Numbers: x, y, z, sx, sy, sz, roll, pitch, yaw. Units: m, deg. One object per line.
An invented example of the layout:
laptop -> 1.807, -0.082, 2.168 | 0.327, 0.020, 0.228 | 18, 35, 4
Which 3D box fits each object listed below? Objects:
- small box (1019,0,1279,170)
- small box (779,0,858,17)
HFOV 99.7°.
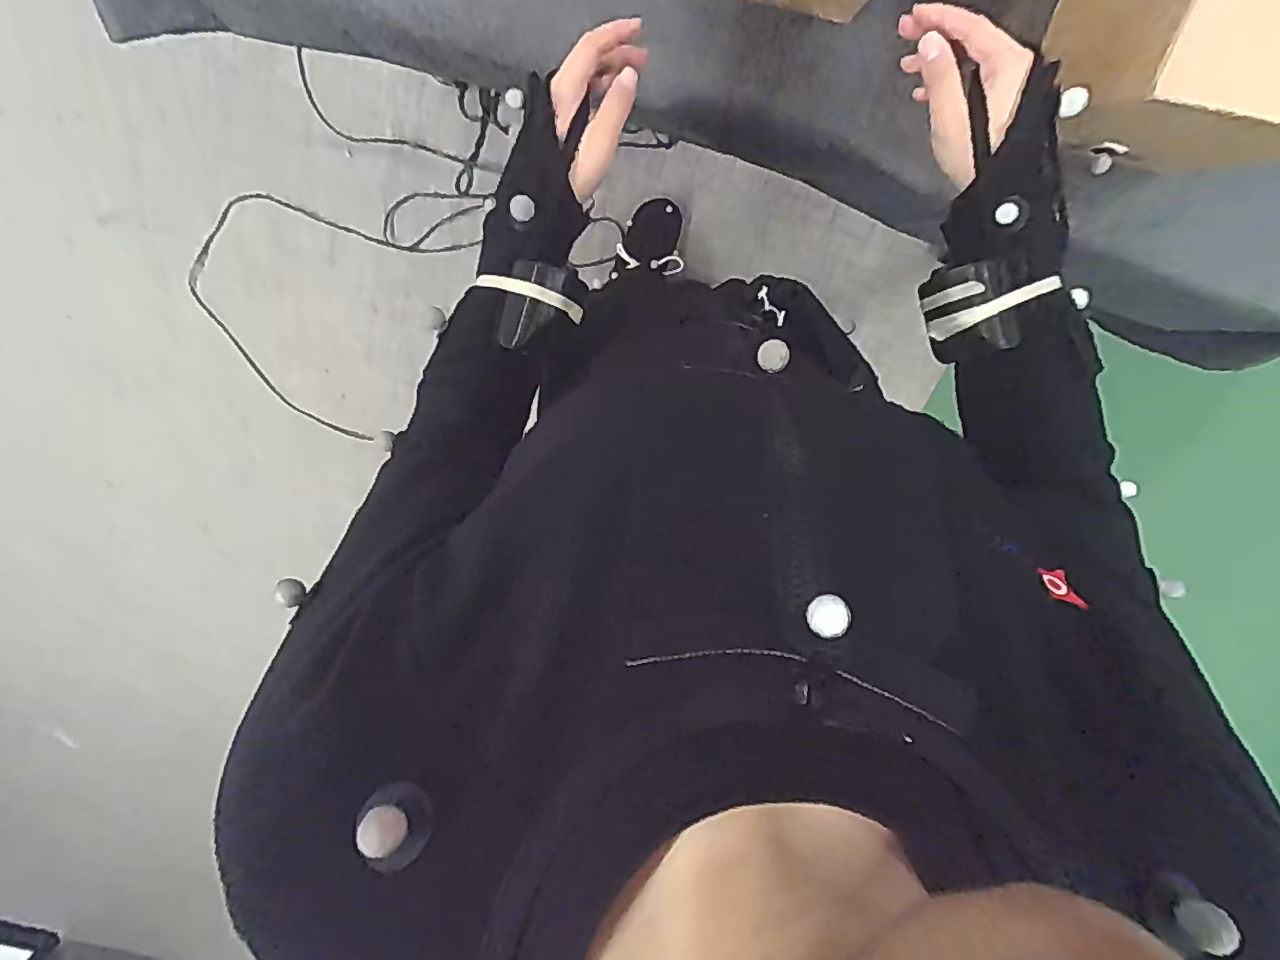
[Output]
small box -> 0.415, -0.335, 0.375 | 0.168, 0.176, 0.179 | 10, 115, -1
small box -> 0.108, -0.440, 0.341 | 0.168, 0.176, 0.179 | 12, 113, -3
